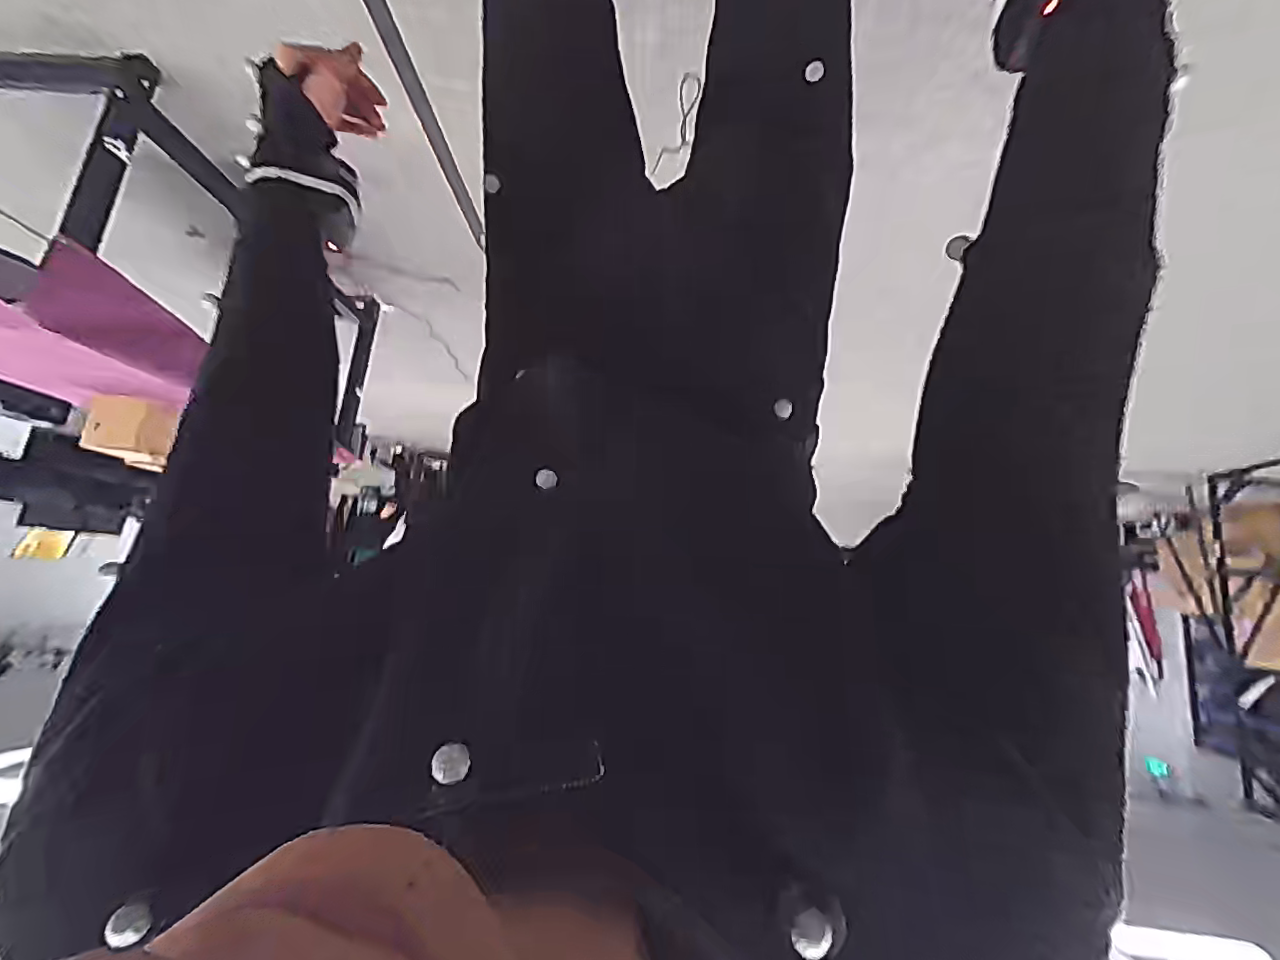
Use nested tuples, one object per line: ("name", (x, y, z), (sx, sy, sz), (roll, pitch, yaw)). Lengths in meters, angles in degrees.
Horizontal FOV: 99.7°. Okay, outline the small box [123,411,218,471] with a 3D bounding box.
("small box", (-1.638, -0.138, 1.897), (0.179, 0.176, 0.168), (5, 169, 4))
